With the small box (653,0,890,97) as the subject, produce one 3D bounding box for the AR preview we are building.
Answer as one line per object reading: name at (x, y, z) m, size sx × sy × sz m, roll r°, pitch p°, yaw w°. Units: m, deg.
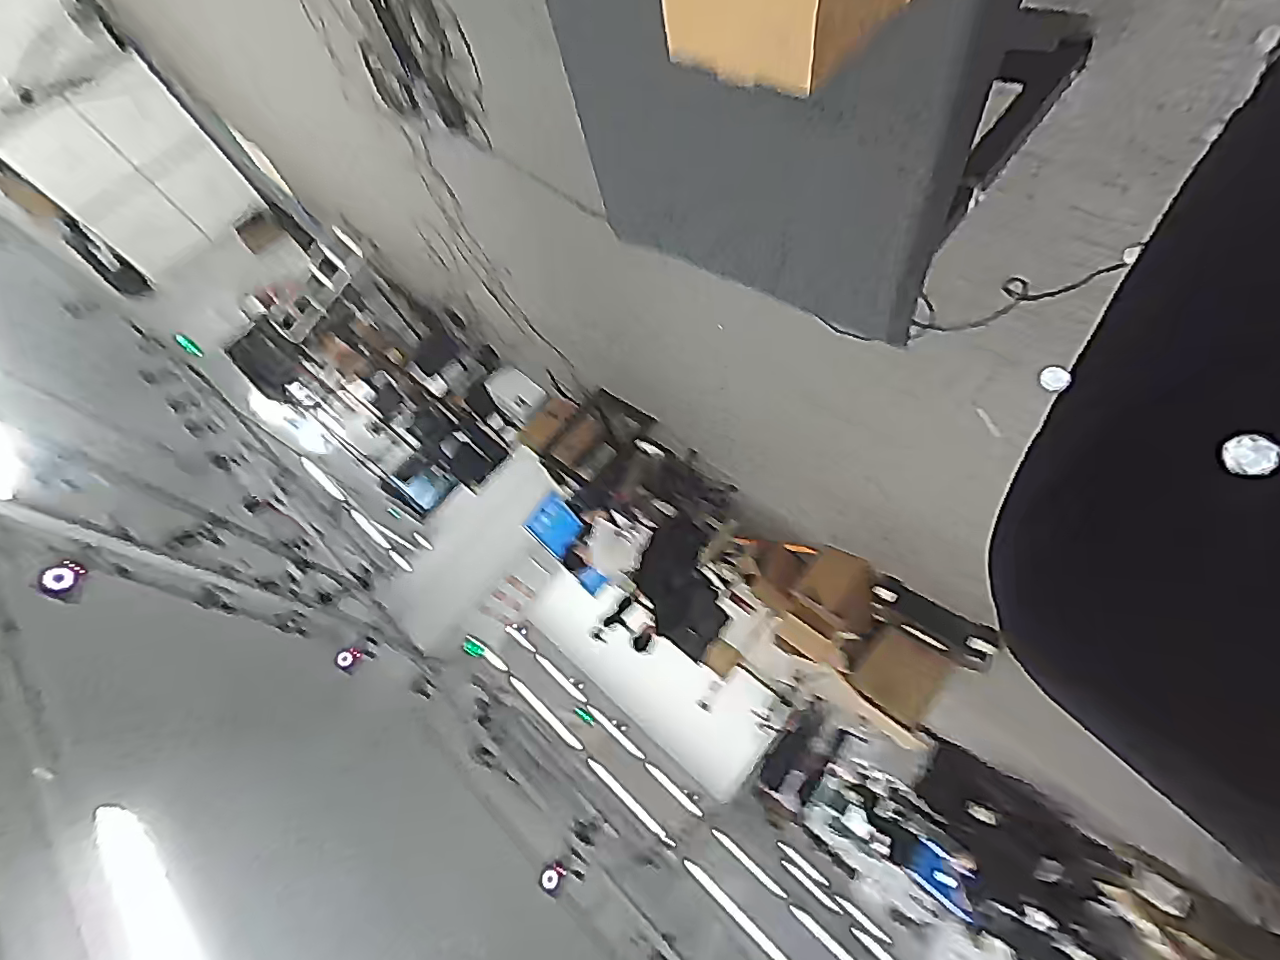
small box at (0.120, -0.476, 0.451) m, size 0.168 × 0.176 × 0.179 m, roll 36°, pitch 165°, yaw 24°
